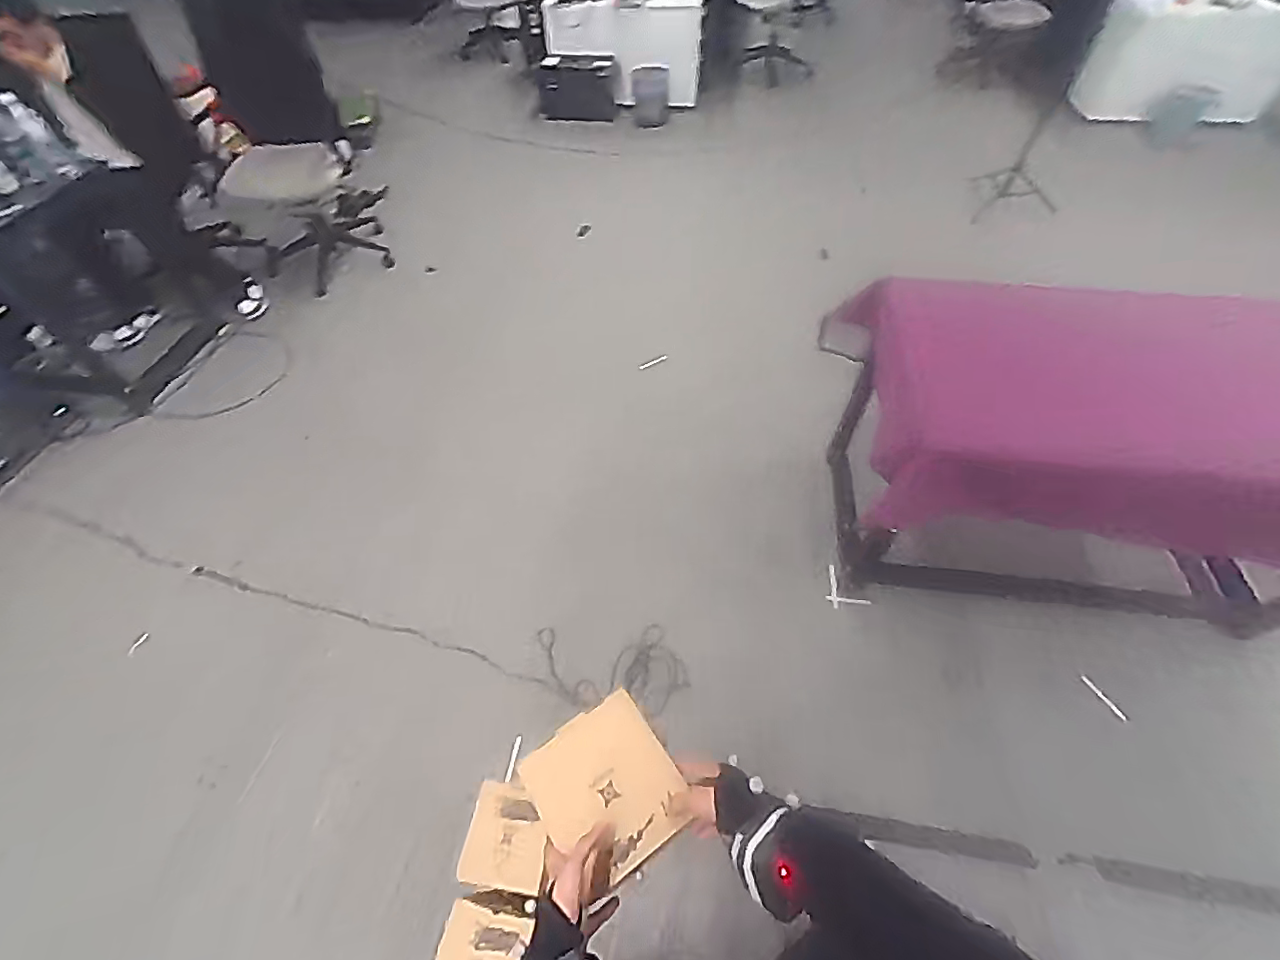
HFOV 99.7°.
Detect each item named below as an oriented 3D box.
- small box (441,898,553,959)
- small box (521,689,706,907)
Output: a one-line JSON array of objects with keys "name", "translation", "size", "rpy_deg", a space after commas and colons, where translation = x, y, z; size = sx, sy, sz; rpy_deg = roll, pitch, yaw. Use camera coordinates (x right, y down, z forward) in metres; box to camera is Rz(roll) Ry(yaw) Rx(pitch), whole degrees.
[{"name": "small box", "translation": [-0.272, 0.912, 1.014], "size": [0.168, 0.176, 0.179], "rpy_deg": [9, 57, 9]}, {"name": "small box", "translation": [-0.031, 0.417, 0.715], "size": [0.168, 0.176, 0.179], "rpy_deg": [-31, 58, -15]}]
